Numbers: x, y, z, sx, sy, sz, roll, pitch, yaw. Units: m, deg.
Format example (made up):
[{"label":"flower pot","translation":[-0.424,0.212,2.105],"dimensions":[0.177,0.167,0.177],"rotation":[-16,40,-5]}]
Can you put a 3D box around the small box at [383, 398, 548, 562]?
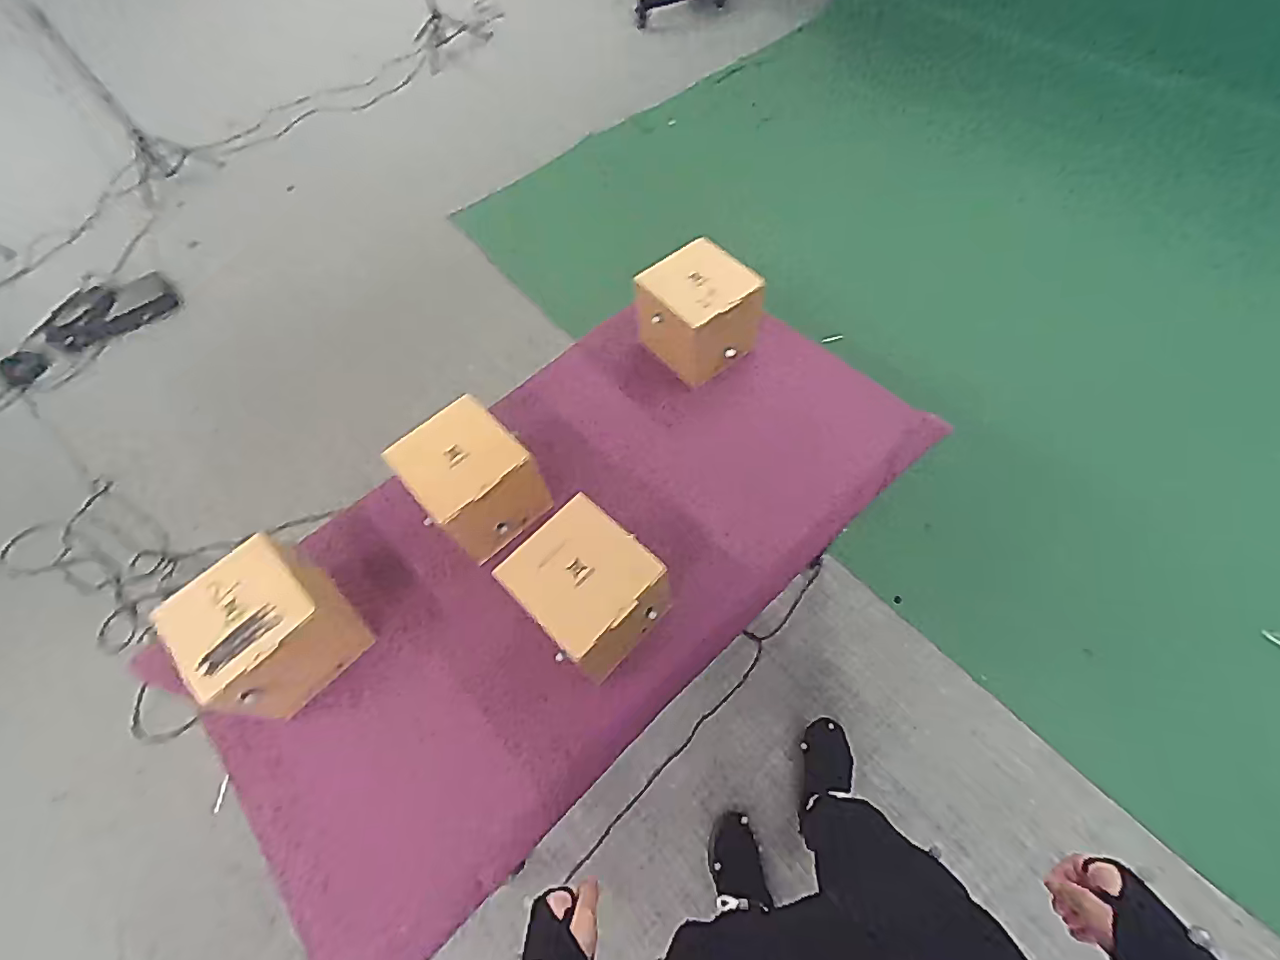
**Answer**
[{"label":"small box","translation":[-0.278,0.005,0.895],"dimensions":[0.168,0.176,0.179],"rotation":[-41,66,-17]}]

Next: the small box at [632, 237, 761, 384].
[{"label":"small box","translation":[0.105,-0.318,1.034],"dimensions":[0.168,0.176,0.179],"rotation":[-36,64,-13]}]

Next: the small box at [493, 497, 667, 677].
[{"label":"small box","translation":[-0.075,0.163,0.785],"dimensions":[0.179,0.176,0.168],"rotation":[38,70,24]}]
